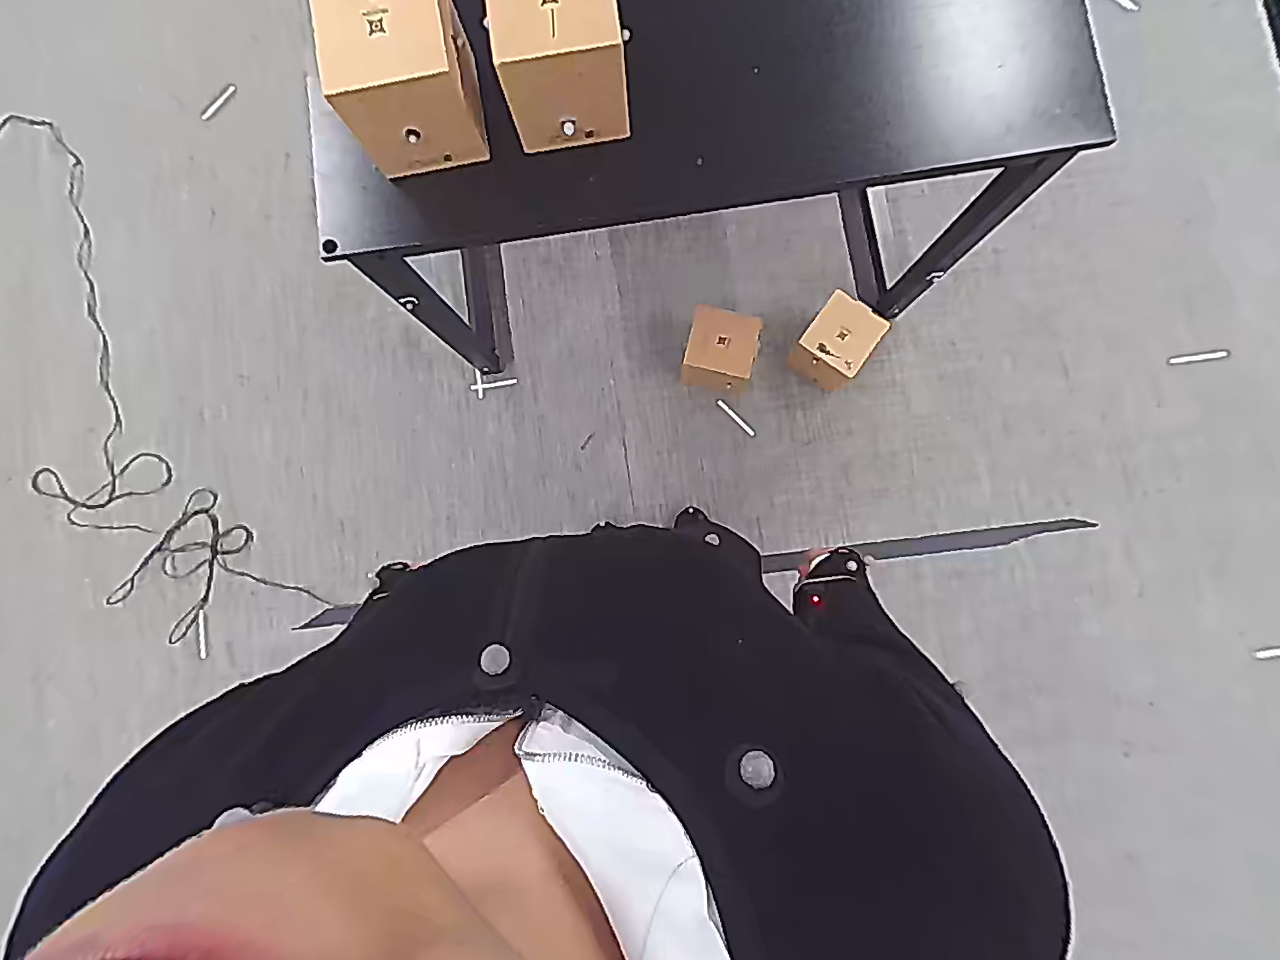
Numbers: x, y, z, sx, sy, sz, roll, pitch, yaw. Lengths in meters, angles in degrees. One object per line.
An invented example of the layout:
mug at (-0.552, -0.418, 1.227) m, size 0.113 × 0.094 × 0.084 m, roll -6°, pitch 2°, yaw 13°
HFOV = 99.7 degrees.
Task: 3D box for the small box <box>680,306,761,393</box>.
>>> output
small box at (0.212, -0.345, 1.461) m, size 0.179 × 0.176 × 0.168 m, roll 13°, pitch 85°, yaw 4°

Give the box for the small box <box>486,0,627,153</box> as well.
small box at (-0.112, -0.606, 0.761) m, size 0.168 × 0.176 × 0.179 m, roll -8°, pitch 85°, yaw 2°

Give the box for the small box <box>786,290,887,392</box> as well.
small box at (0.515, -0.363, 1.447) m, size 0.168 × 0.176 × 0.179 m, roll 36°, pitch 88°, yaw 5°
